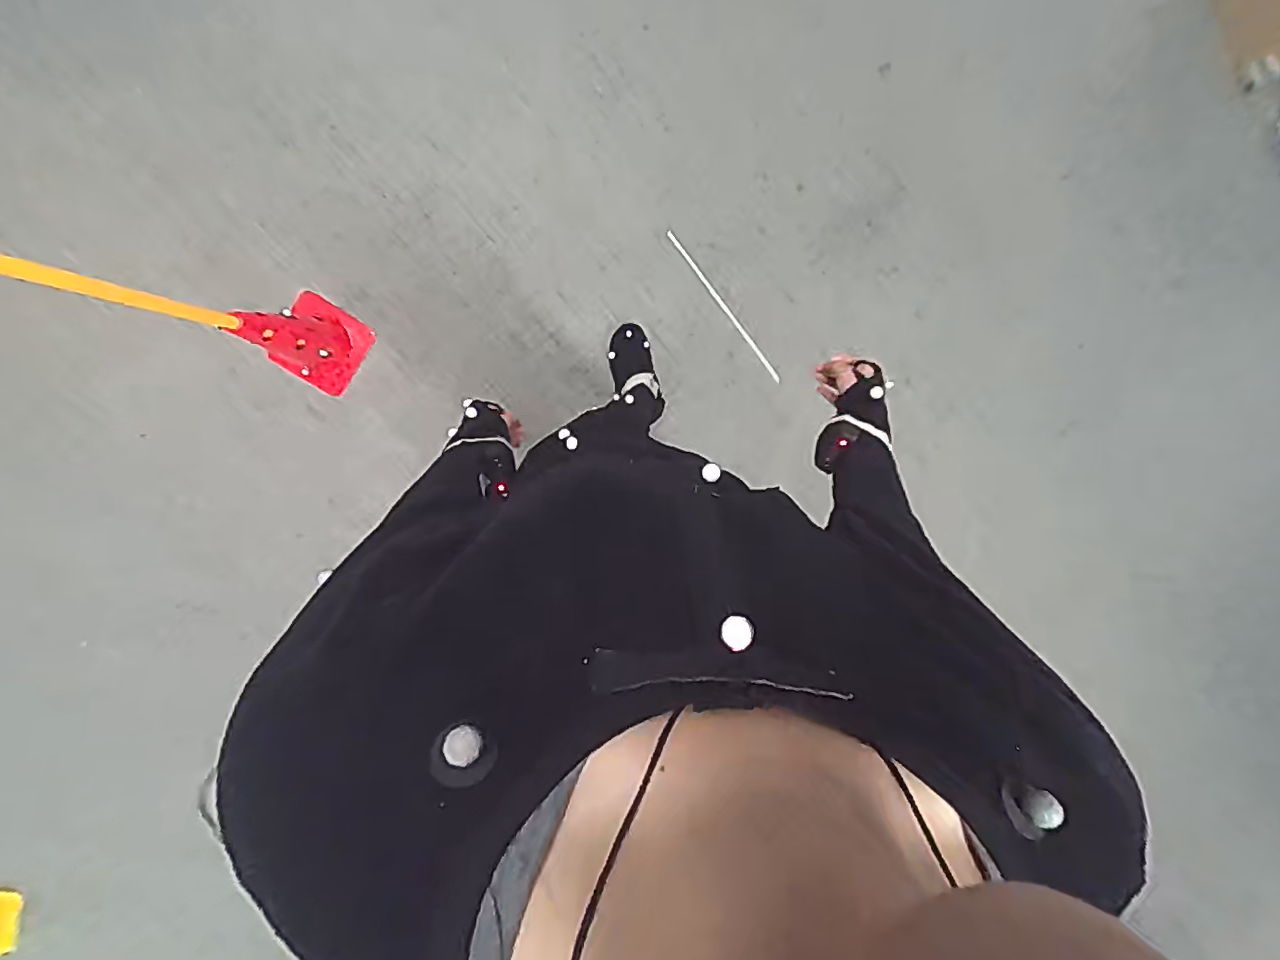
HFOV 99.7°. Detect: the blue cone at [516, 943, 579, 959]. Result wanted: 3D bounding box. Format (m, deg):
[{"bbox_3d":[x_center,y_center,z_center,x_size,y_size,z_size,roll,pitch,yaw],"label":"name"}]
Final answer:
[{"bbox_3d":[-0.252,1.483,1.446,0.193,0.380,0.192,5,96,-10],"label":"blue cone"}]
